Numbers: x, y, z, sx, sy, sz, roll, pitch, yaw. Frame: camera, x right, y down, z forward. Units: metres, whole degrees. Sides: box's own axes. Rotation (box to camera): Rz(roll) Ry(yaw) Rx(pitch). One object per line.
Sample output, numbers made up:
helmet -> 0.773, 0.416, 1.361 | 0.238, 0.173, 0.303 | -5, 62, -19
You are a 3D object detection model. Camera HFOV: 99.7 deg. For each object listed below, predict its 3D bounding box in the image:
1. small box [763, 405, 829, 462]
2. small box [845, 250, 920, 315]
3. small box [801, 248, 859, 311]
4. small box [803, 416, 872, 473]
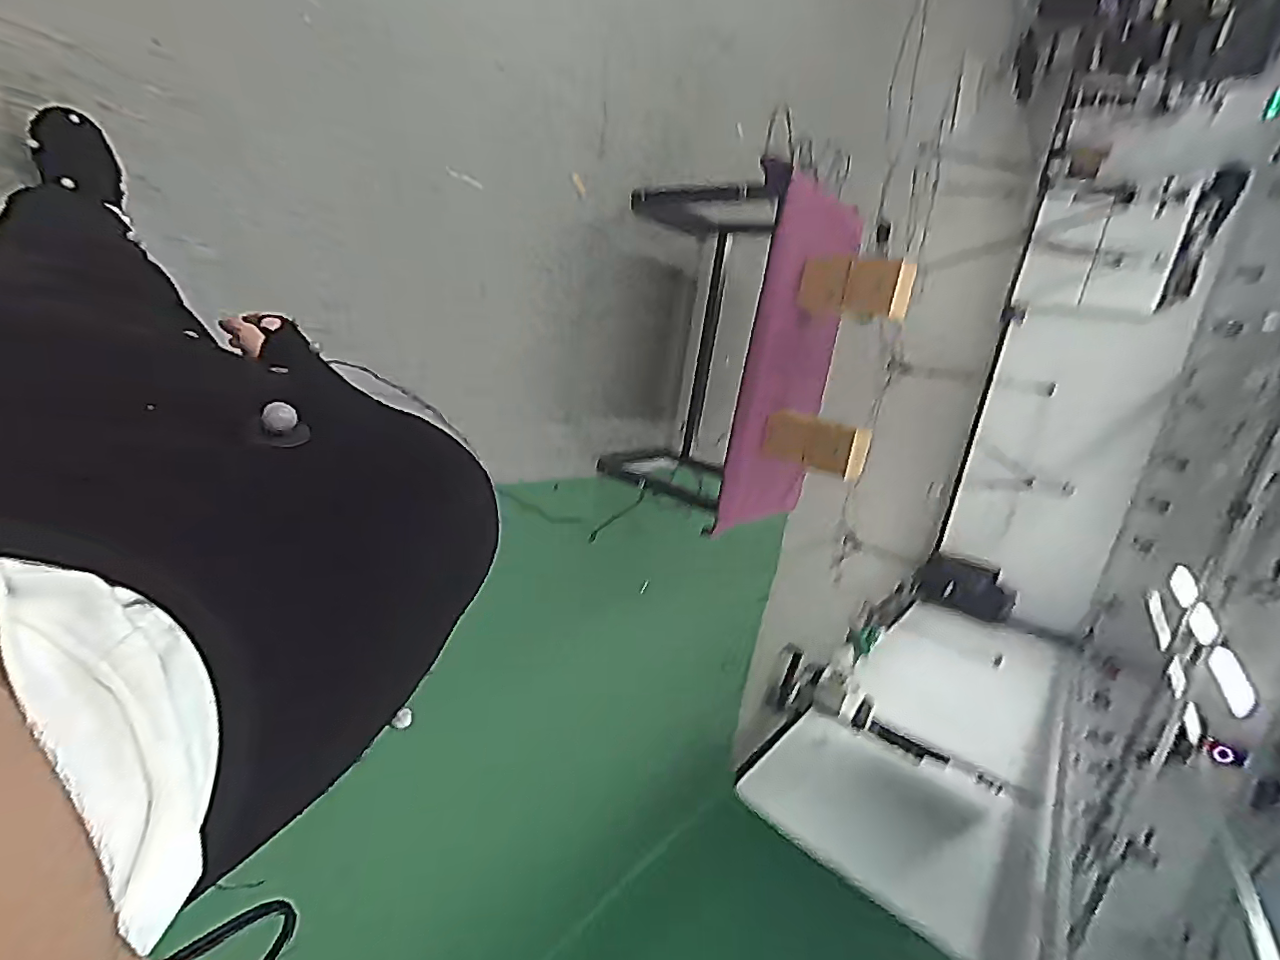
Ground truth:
small box -> 0.582, -0.180, 2.035 | 0.168, 0.176, 0.179 | -10, 114, -49
small box -> 0.809, -0.664, 1.817 | 0.168, 0.176, 0.179 | -7, 112, -49
small box -> 0.691, -0.711, 1.917 | 0.168, 0.176, 0.179 | -7, 113, -50
small box -> 0.704, -0.132, 1.937 | 0.168, 0.176, 0.179 | -7, 112, -48
